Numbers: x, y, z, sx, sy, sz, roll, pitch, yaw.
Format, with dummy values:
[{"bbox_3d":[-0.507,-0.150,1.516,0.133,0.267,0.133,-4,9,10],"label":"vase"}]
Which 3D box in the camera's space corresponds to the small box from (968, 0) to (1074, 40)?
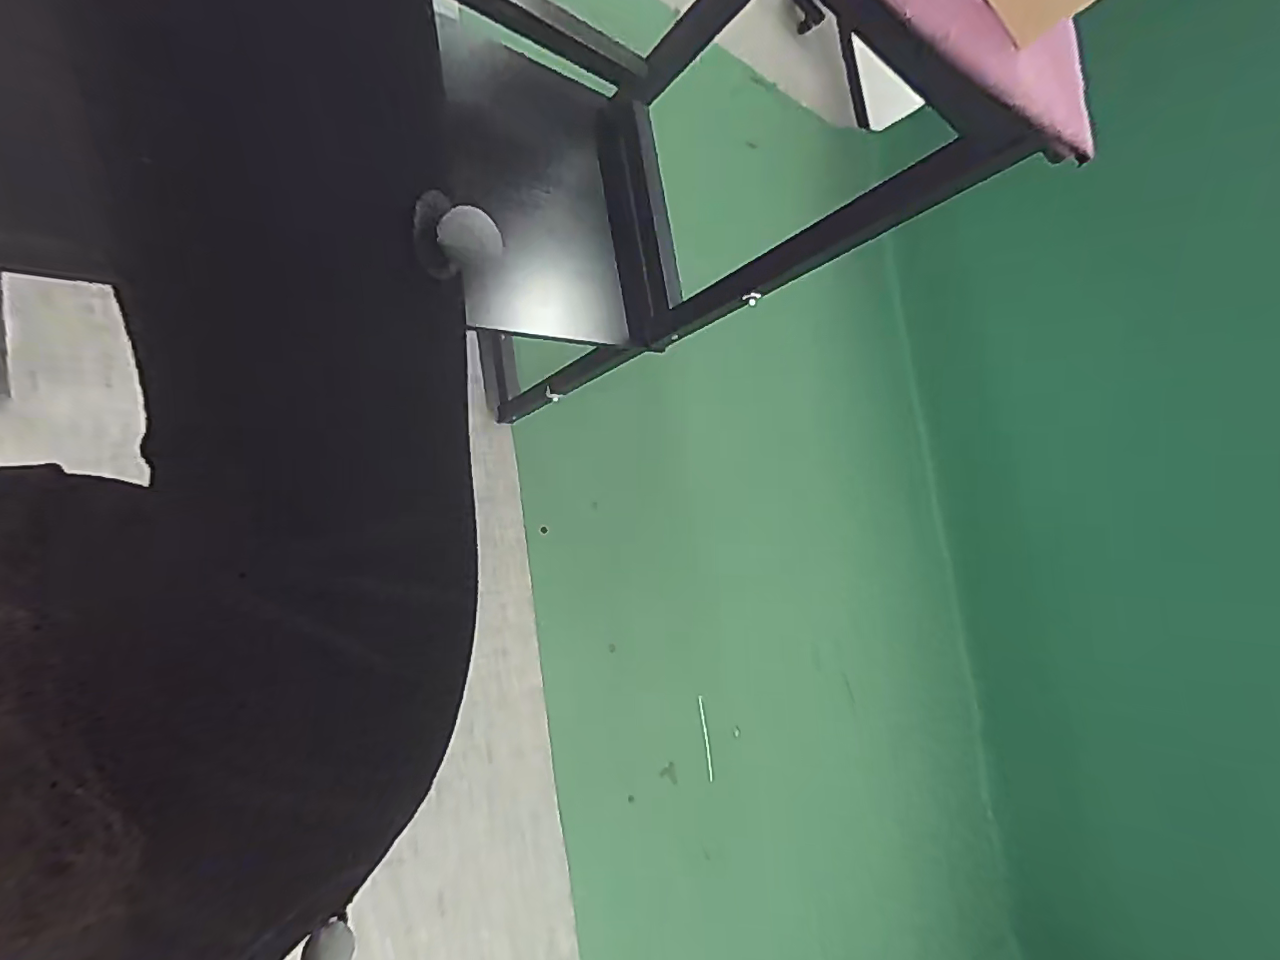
[{"bbox_3d":[0.347,-0.530,0.451,0.179,0.176,0.168,2,77,-38],"label":"small box"}]
